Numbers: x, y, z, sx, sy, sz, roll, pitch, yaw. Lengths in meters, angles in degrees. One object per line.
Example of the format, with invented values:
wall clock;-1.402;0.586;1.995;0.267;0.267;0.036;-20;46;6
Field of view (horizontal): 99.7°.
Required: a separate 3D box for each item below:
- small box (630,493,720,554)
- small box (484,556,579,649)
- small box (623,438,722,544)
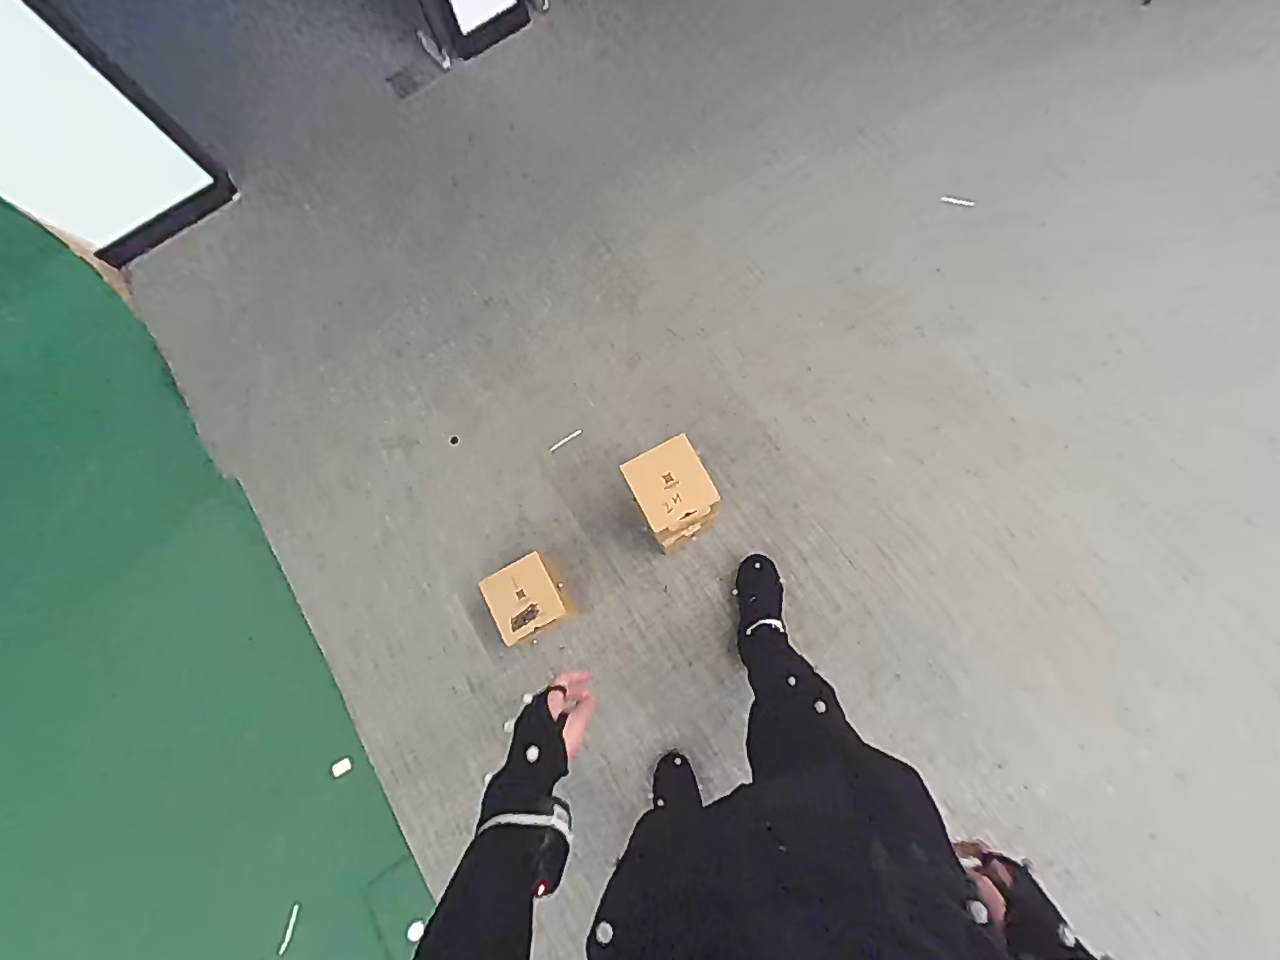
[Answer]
small box;0.093;0.082;1.423;0.168;0.176;0.179;-31;76;-4
small box;-0.274;0.319;1.408;0.168;0.176;0.179;-28;75;-4
small box;0.076;0.033;1.266;0.168;0.176;0.179;-27;75;-2
